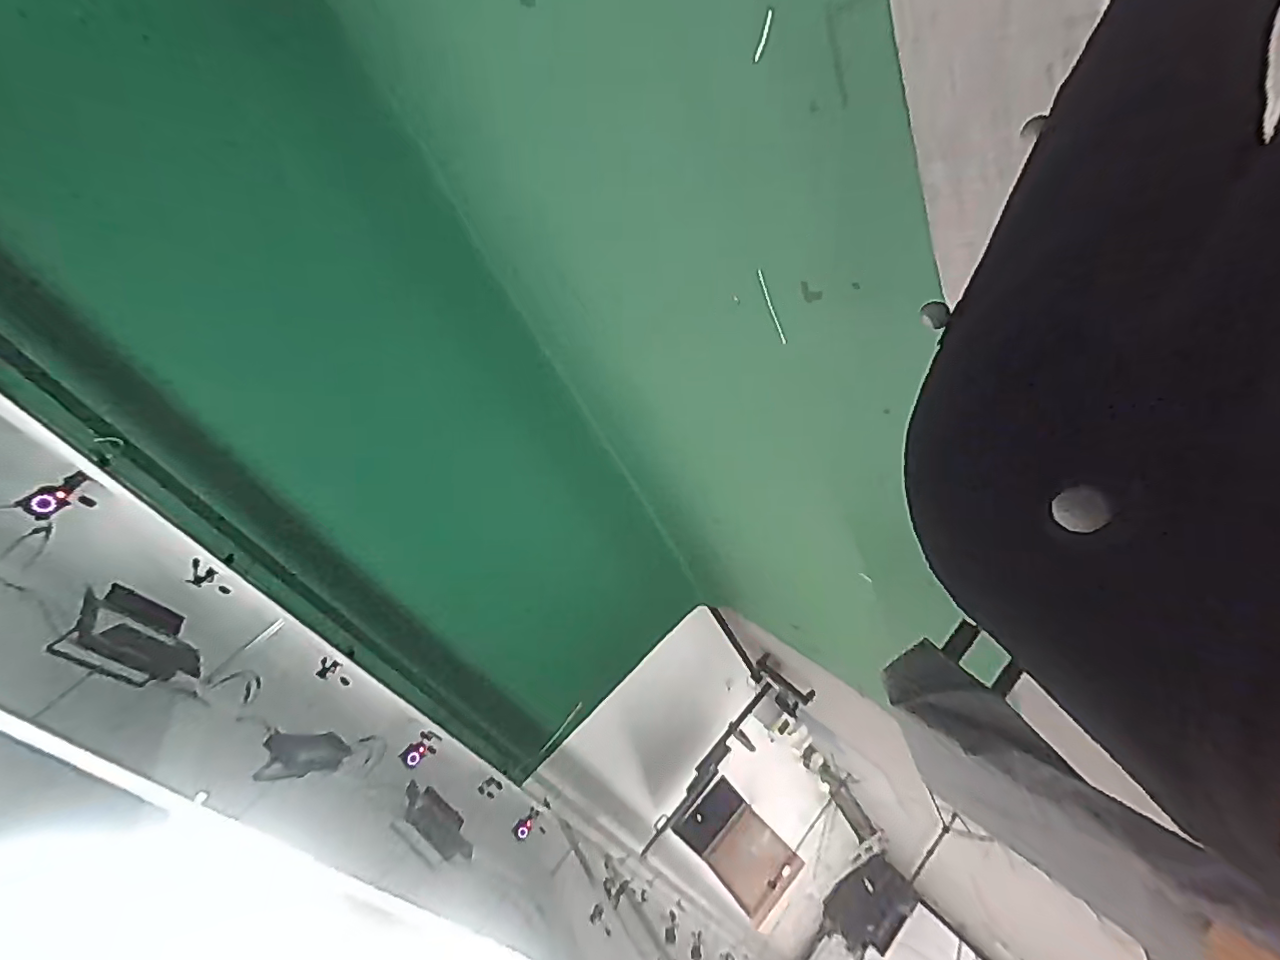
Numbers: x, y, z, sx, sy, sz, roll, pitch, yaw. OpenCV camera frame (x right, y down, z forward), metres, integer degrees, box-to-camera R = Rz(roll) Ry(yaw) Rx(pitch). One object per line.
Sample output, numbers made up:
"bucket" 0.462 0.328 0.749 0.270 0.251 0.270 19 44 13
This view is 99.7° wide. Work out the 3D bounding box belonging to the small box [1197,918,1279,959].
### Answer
"small box" 1.263 1.058 1.104 0.179 0.176 0.168 28 156 53
